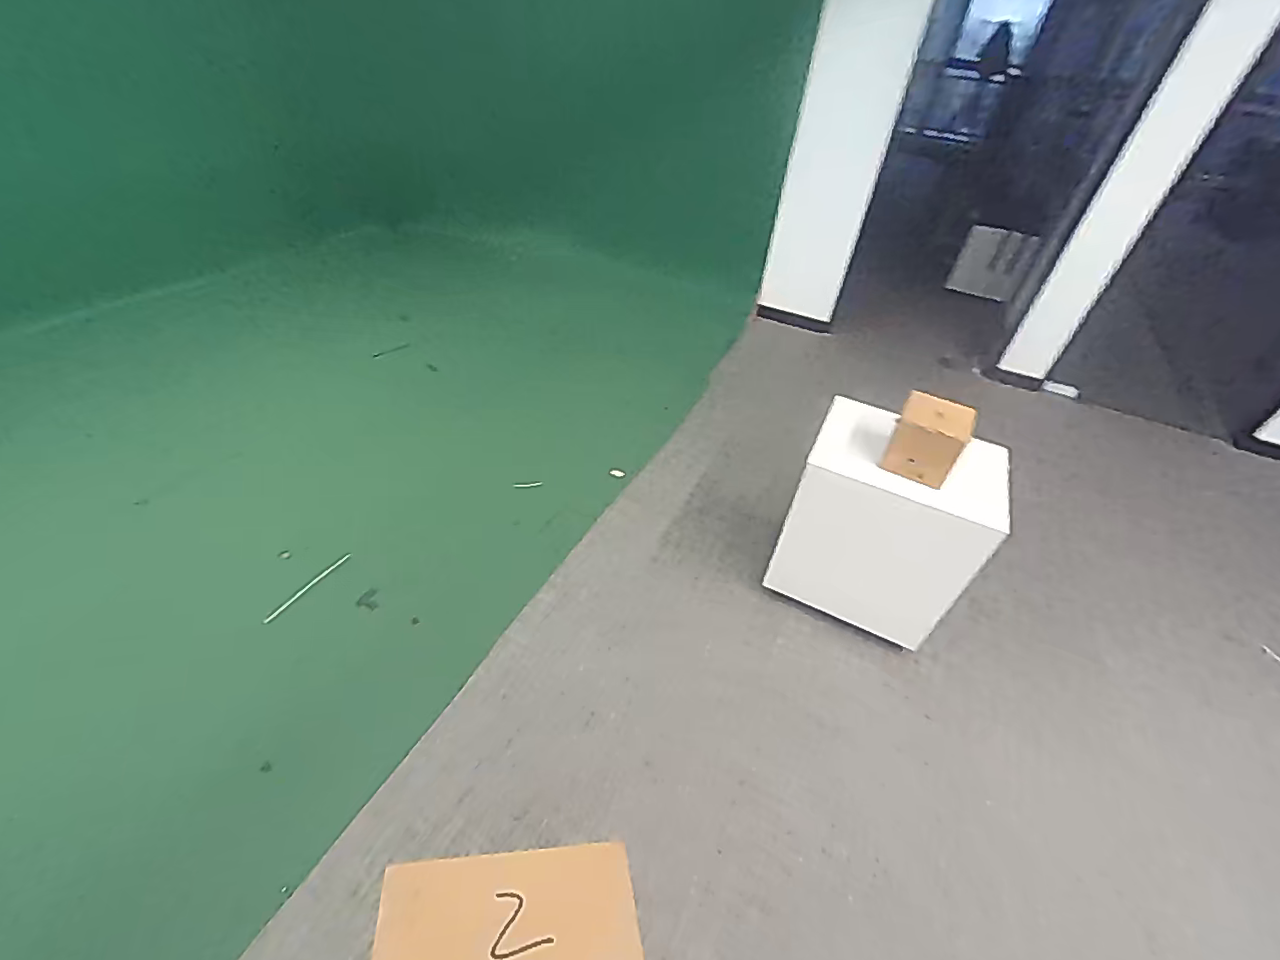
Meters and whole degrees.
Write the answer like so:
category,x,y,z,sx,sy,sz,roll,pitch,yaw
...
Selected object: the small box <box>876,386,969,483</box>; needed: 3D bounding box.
category,x,y,z,sx,sy,sz,roll,pitch,yaw
small box,0.763,-0.124,1.465,0.168,0.176,0.179,23,45,19
